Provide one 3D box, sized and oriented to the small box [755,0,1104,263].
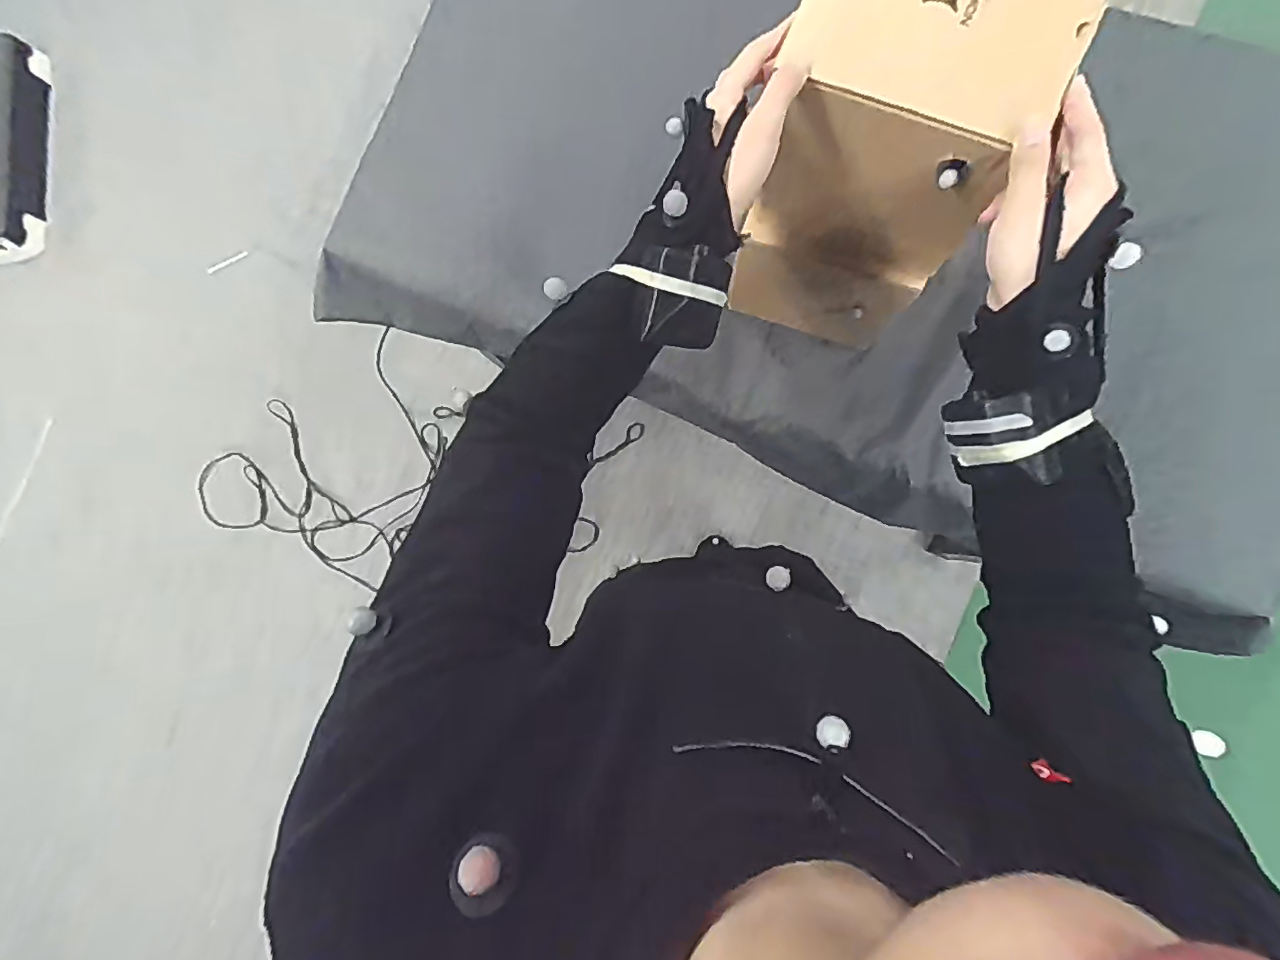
[{"bbox_3d":[0.202,-0.298,0.417,0.179,0.176,0.168,23,88,7],"label":"small box"}]
